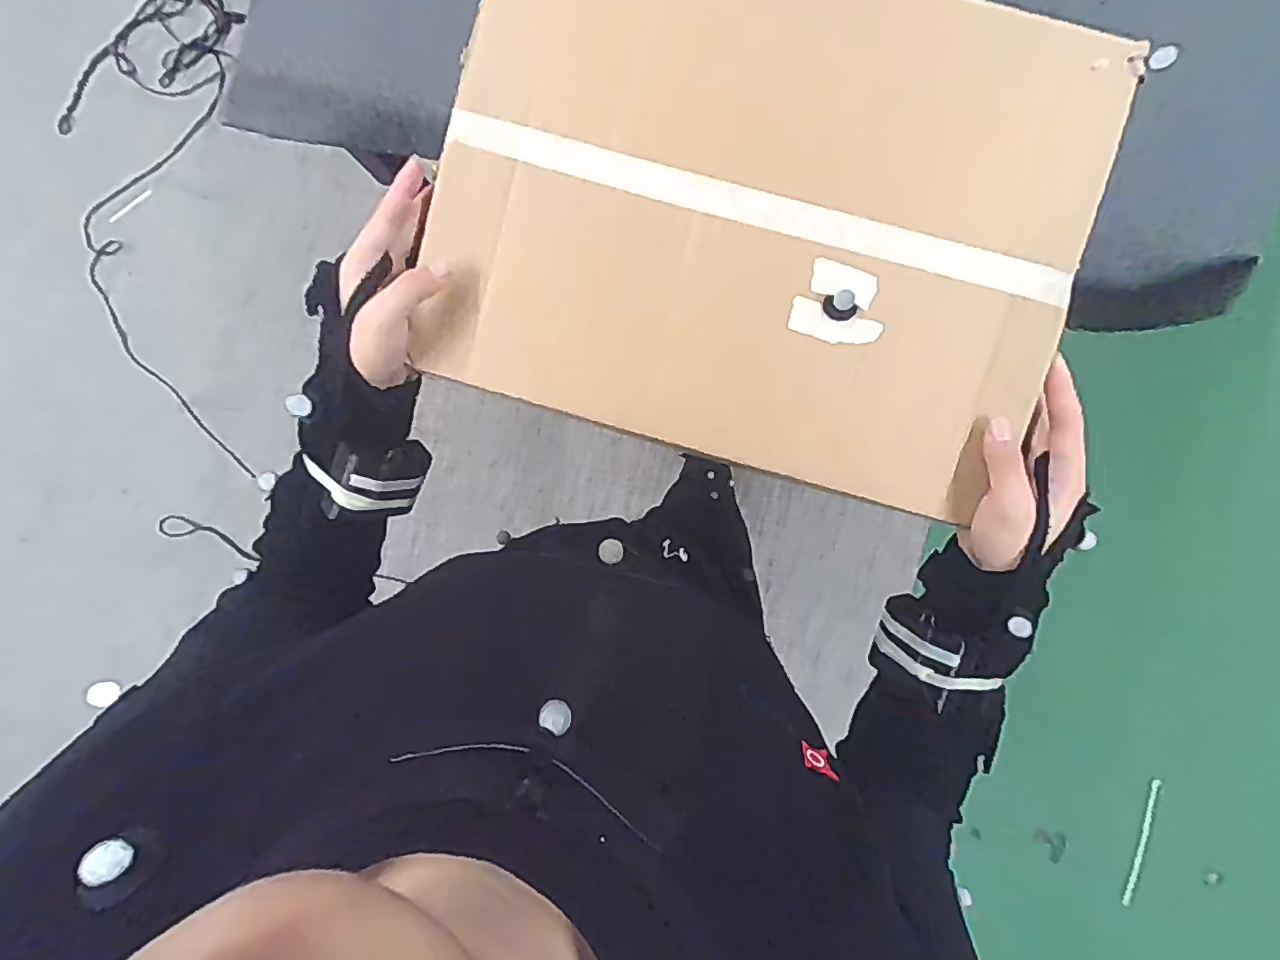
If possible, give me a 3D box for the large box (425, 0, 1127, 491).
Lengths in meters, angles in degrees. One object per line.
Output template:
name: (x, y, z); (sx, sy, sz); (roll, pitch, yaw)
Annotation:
large box: (0.083, -0.196, 0.501); (0.408, 0.320, 0.320); (15, 95, 0)
